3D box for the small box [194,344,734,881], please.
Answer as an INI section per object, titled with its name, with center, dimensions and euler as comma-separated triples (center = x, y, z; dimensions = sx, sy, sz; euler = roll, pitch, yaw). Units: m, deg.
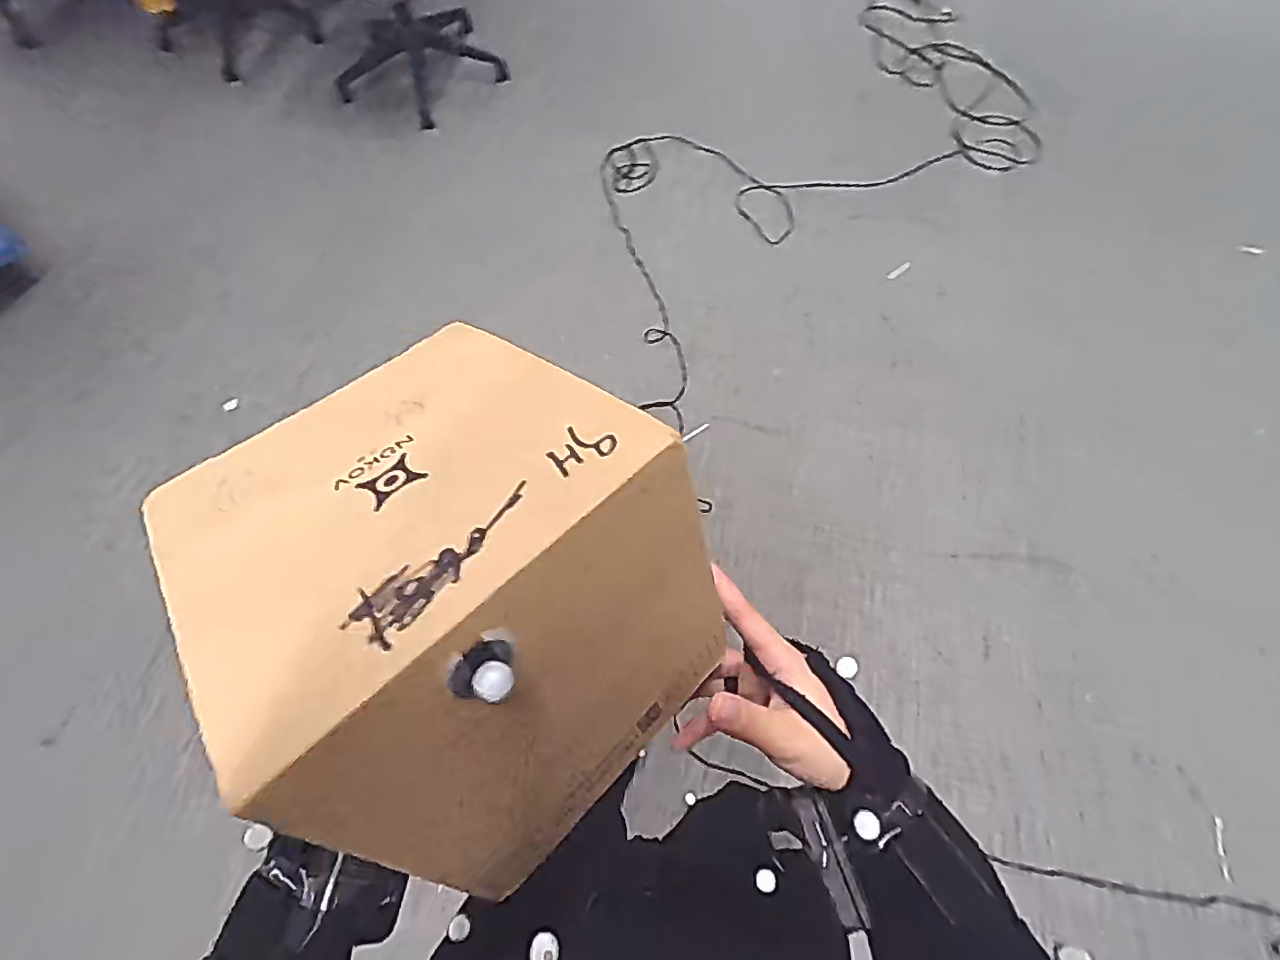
[small box]
center = -0.072, 0.060, 0.279
dimensions = 0.168, 0.176, 0.179
euler = -41, 49, -21
